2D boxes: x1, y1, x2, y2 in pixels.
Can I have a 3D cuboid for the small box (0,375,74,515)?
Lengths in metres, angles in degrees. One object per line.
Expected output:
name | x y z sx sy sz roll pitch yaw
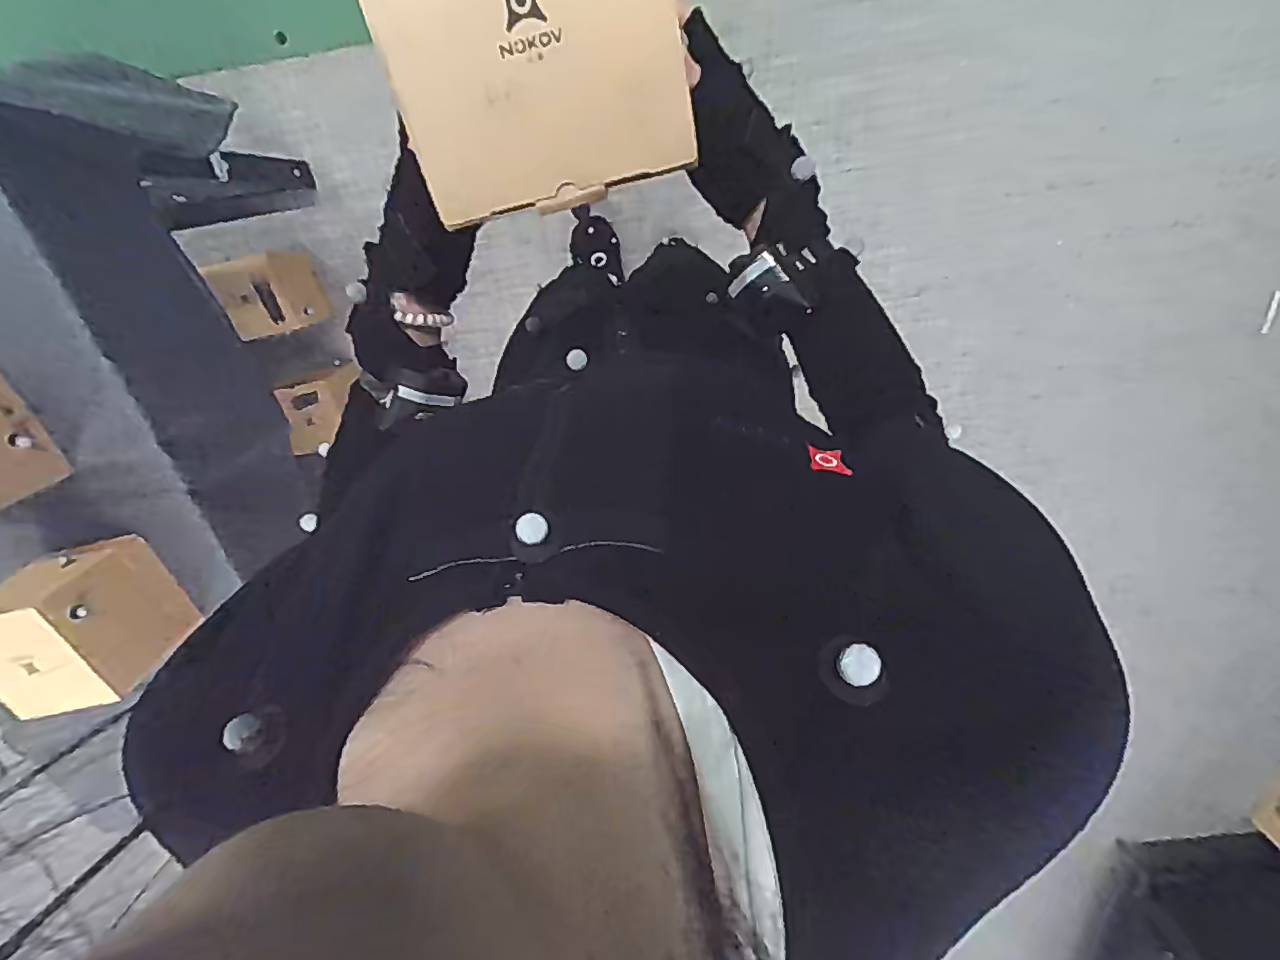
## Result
small box | -0.898 -0.022 0.674 0.179 0.176 0.168 -11 118 5

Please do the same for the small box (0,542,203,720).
small box | -0.815 0.218 0.799 0.168 0.176 0.179 -12 116 6

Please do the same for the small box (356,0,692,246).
small box | -0.065 -0.278 0.364 0.168 0.176 0.179 -12 120 4

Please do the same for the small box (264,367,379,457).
small box | -0.817 -0.184 1.407 0.168 0.176 0.179 -10 118 4
